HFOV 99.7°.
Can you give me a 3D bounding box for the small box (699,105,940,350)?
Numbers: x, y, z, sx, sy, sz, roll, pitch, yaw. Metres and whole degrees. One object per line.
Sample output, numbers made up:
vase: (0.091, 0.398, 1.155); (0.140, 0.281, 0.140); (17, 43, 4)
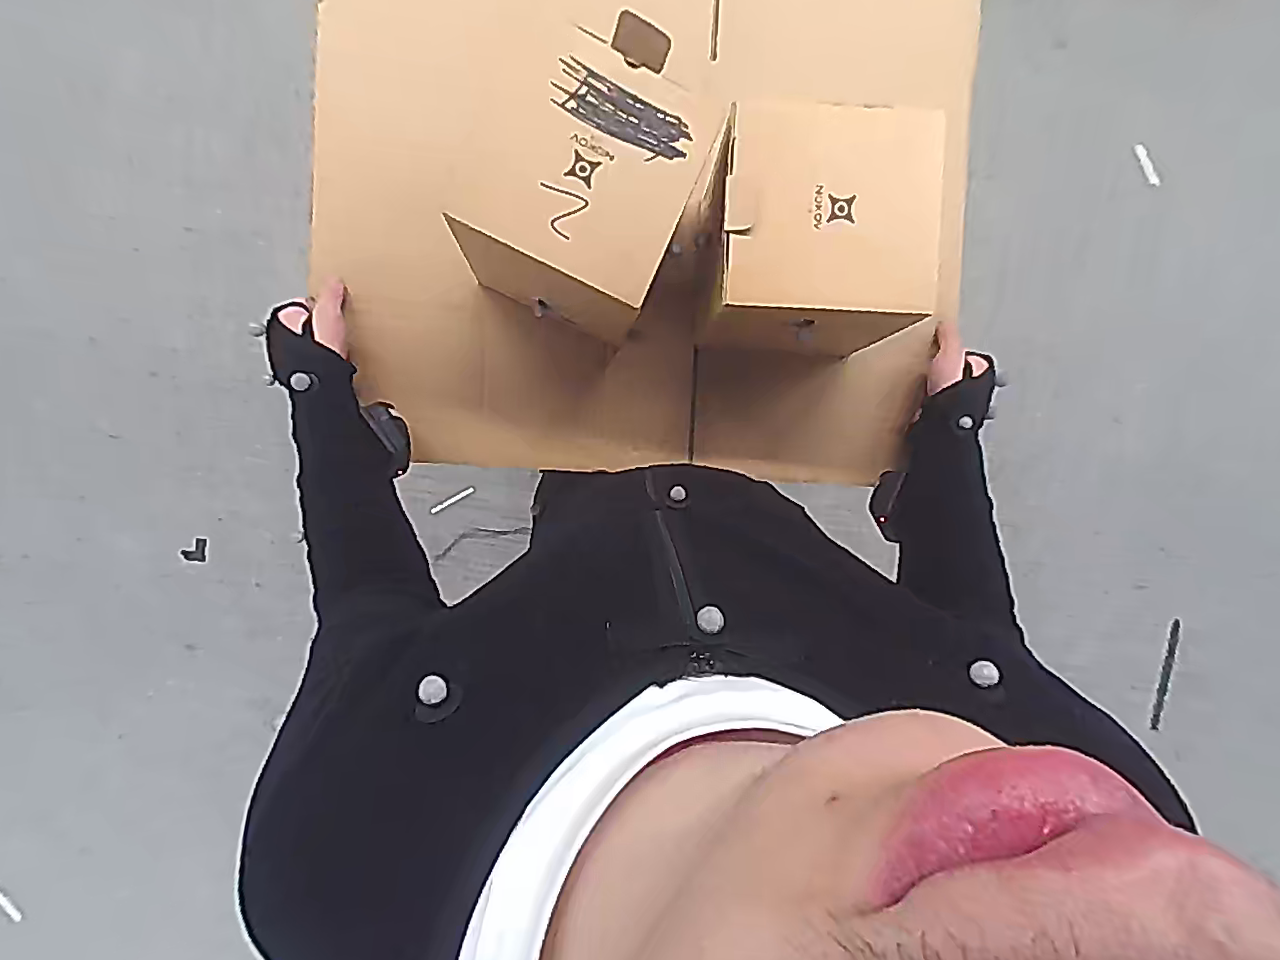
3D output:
small box: (0.159, -0.227, 0.531); (0.179, 0.176, 0.168); (2, 92, -1)
